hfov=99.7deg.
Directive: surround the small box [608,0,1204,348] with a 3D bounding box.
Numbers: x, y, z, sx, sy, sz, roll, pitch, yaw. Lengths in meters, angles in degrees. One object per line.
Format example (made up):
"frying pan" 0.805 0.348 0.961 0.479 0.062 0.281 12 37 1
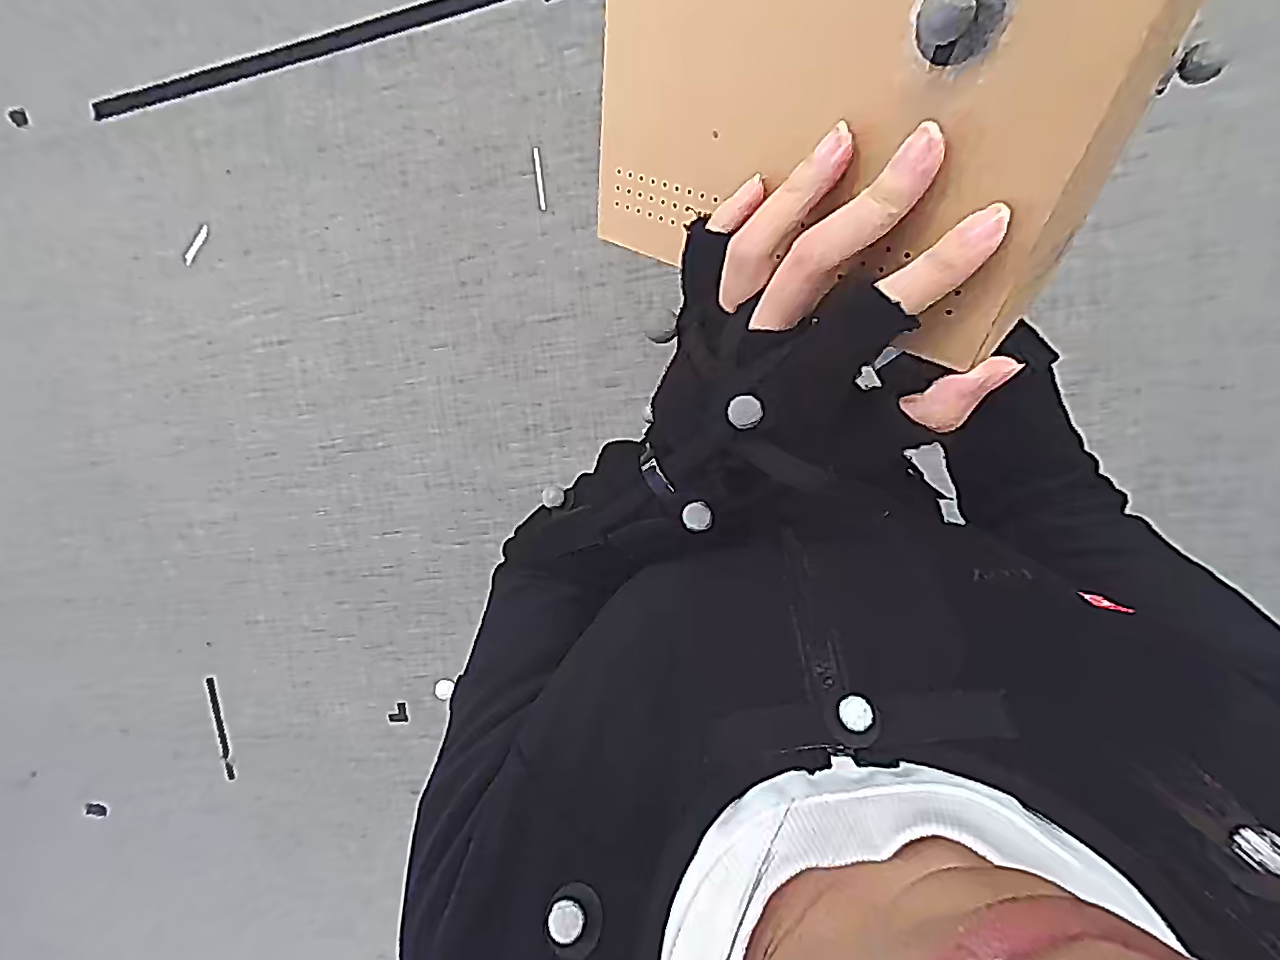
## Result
"small box" 0.104 -0.171 0.225 0.179 0.168 0.176 32 135 28
